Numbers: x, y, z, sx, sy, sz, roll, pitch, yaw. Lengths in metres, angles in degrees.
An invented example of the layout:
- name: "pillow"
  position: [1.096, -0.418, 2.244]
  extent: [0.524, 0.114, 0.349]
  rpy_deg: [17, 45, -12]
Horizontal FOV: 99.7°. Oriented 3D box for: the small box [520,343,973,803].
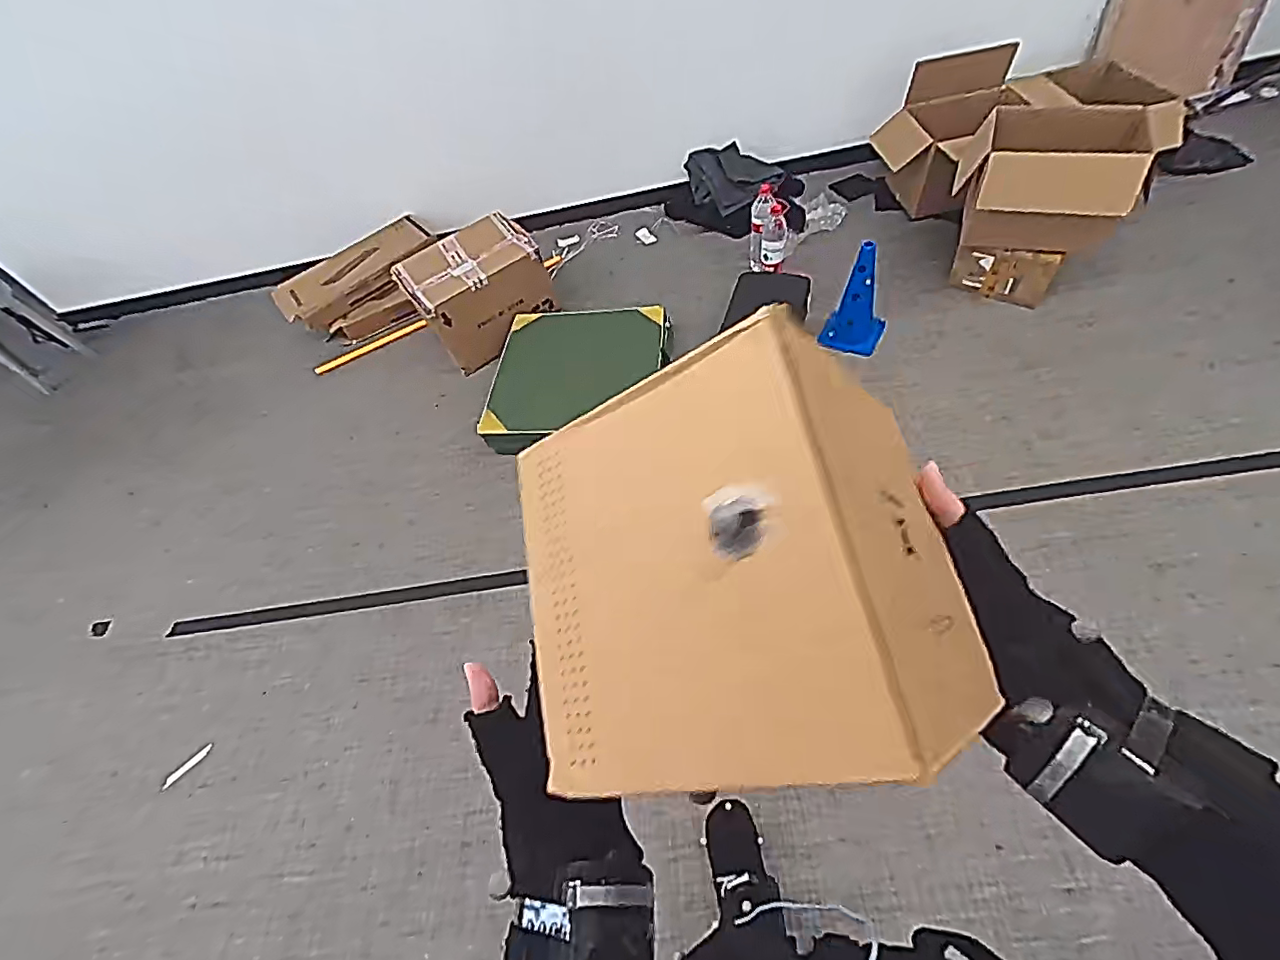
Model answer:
- name: "small box"
  position: [0.049, 0.062, 0.305]
  extent: [0.176, 0.168, 0.179]
  rpy_deg: [-27, 63, 34]
